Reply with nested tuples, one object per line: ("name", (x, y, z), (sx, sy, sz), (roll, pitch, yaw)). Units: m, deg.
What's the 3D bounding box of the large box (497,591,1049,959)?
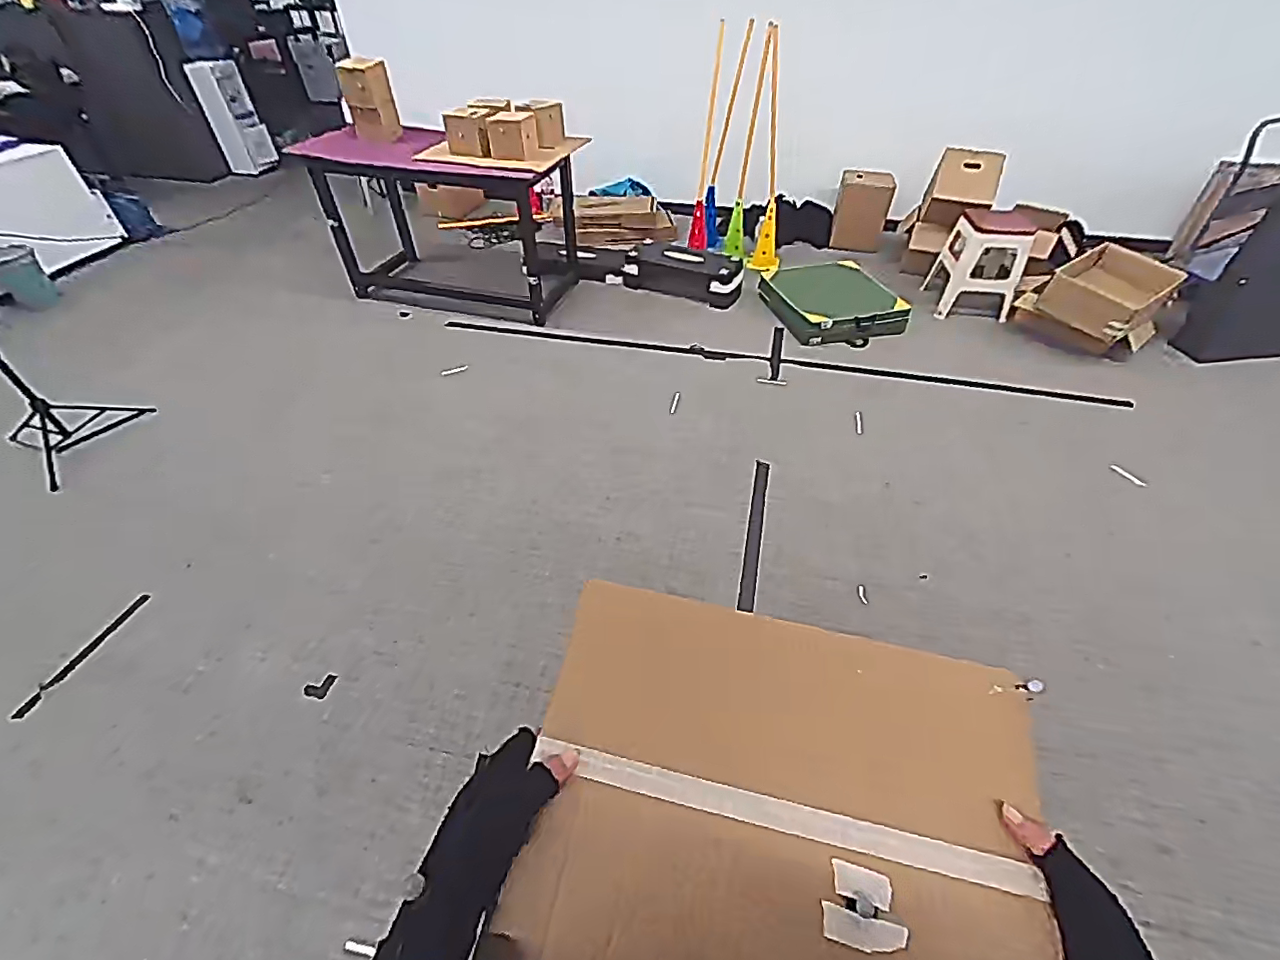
("large box", (0.118, 0.348, 0.573), (0.408, 0.320, 0.320), (11, 61, 8))
